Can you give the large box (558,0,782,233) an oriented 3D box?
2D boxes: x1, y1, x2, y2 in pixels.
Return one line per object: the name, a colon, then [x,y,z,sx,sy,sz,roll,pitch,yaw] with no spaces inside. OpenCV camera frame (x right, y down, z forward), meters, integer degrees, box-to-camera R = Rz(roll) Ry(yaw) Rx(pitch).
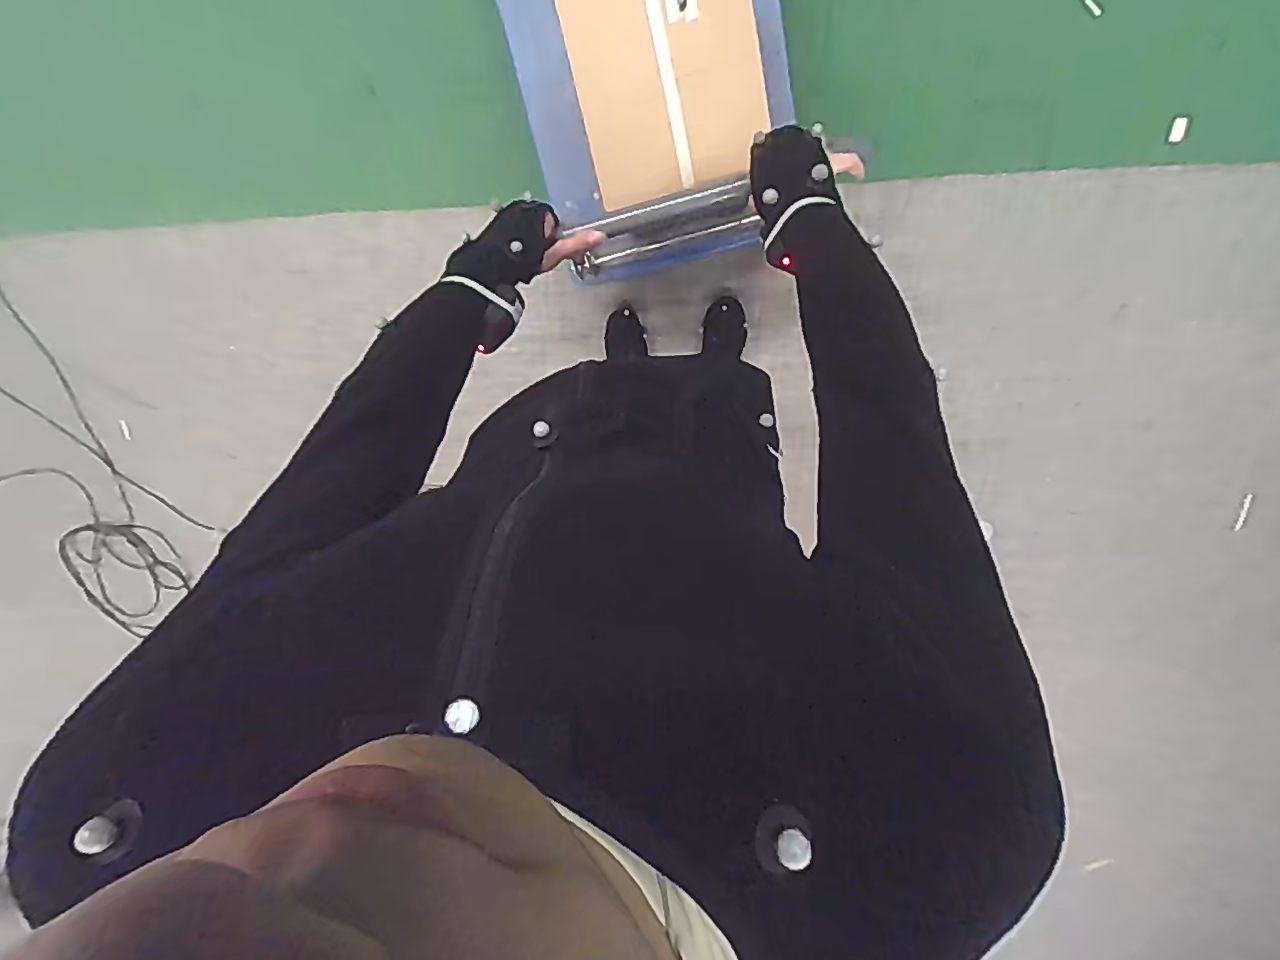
large box: [0.067,-0.740,1.037,0.320,0.320,0.408,-11,107,10]
